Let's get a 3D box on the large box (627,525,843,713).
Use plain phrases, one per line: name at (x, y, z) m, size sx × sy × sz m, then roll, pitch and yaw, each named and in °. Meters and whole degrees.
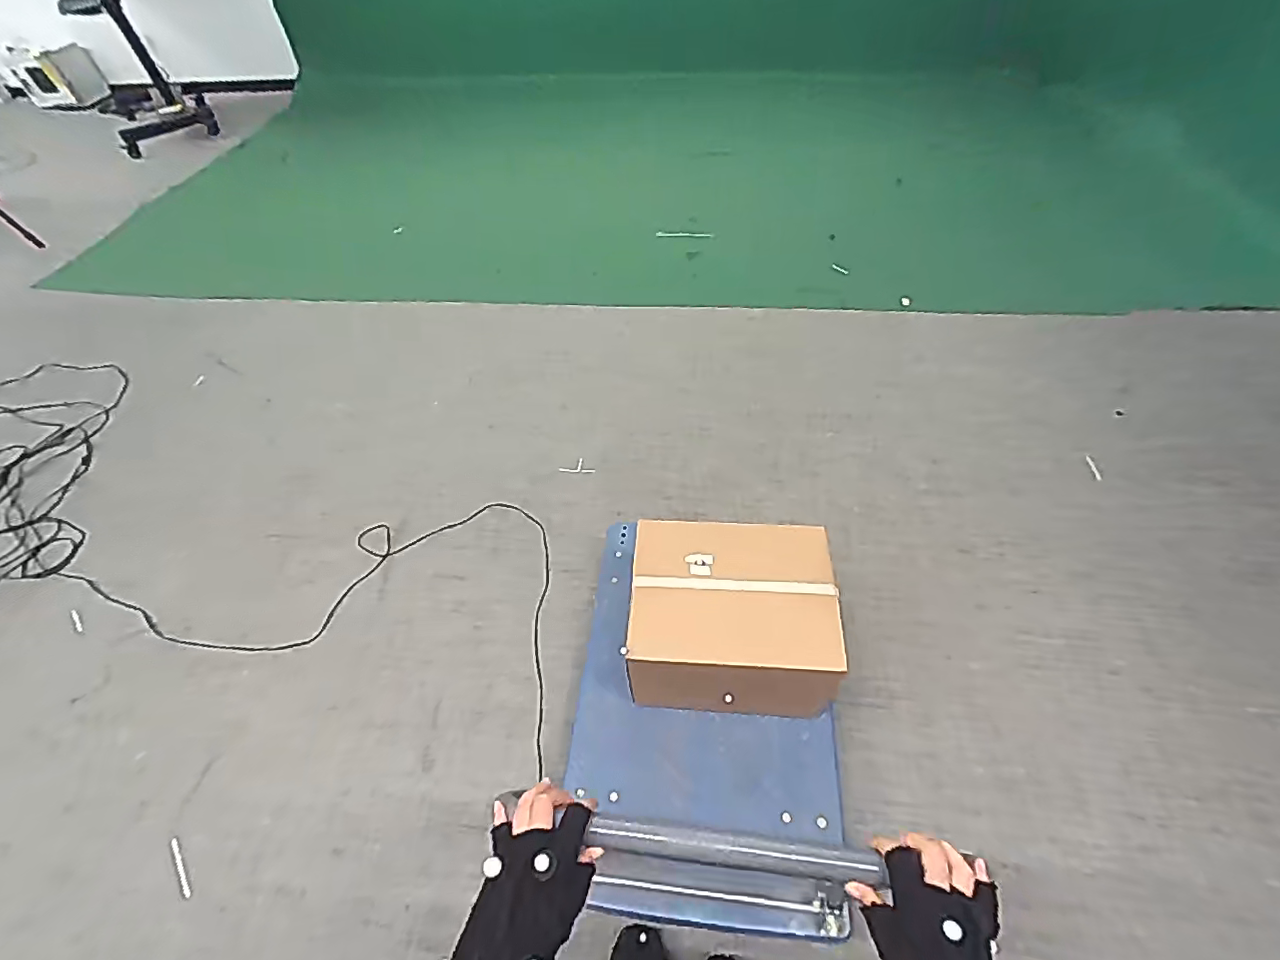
large box at (0.191, 0.313, 1.203) m, size 0.408 × 0.320 × 0.320 m, roll 1°, pitch 51°, yaw 5°
